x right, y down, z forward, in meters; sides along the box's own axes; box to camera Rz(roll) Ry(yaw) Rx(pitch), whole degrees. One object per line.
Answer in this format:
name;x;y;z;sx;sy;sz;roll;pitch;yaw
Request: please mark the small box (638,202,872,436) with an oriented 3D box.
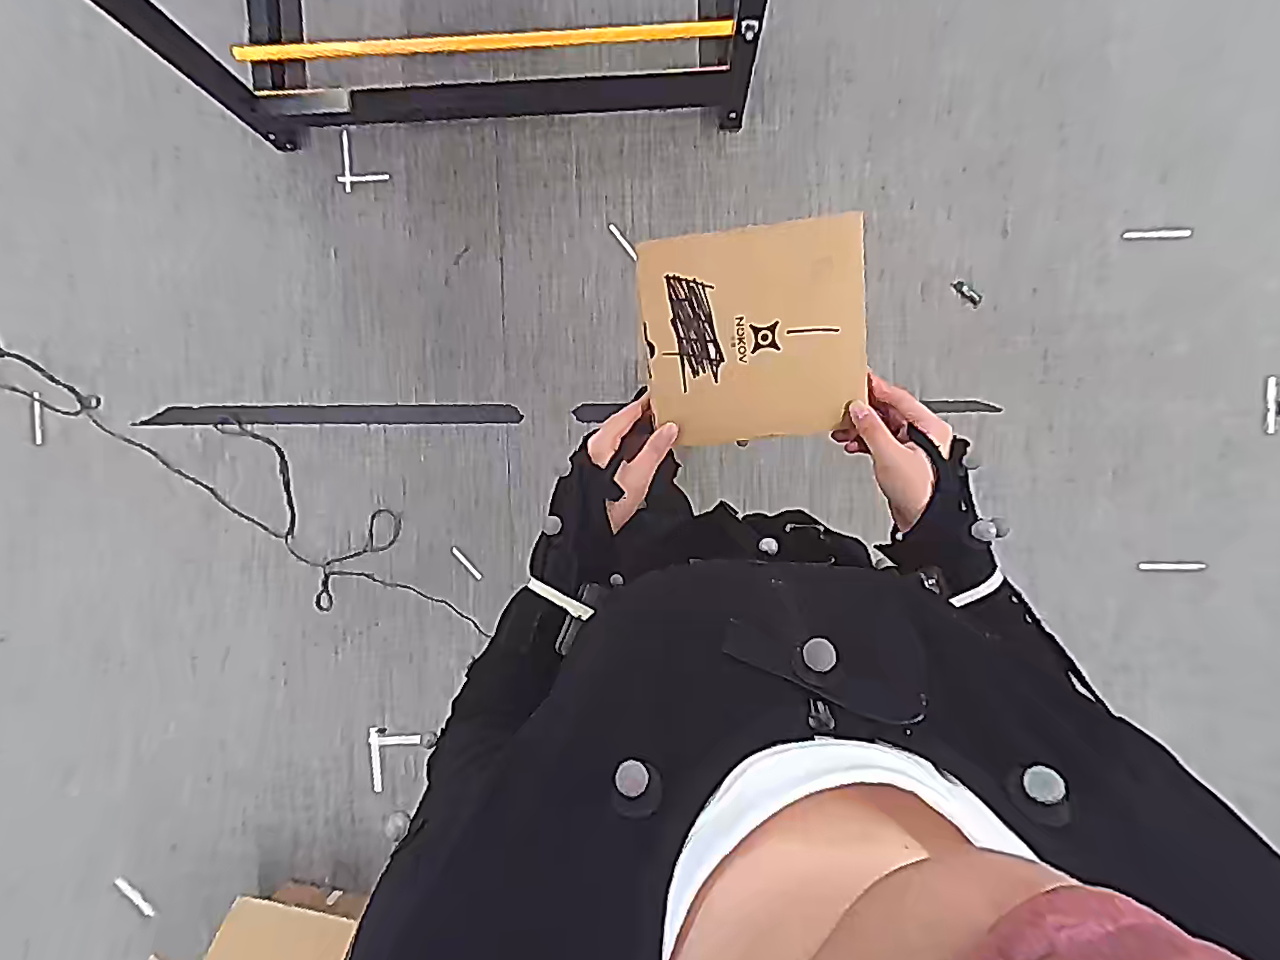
small box;0.102;-0.138;0.504;0.179;0.176;0.168;-5;103;8
